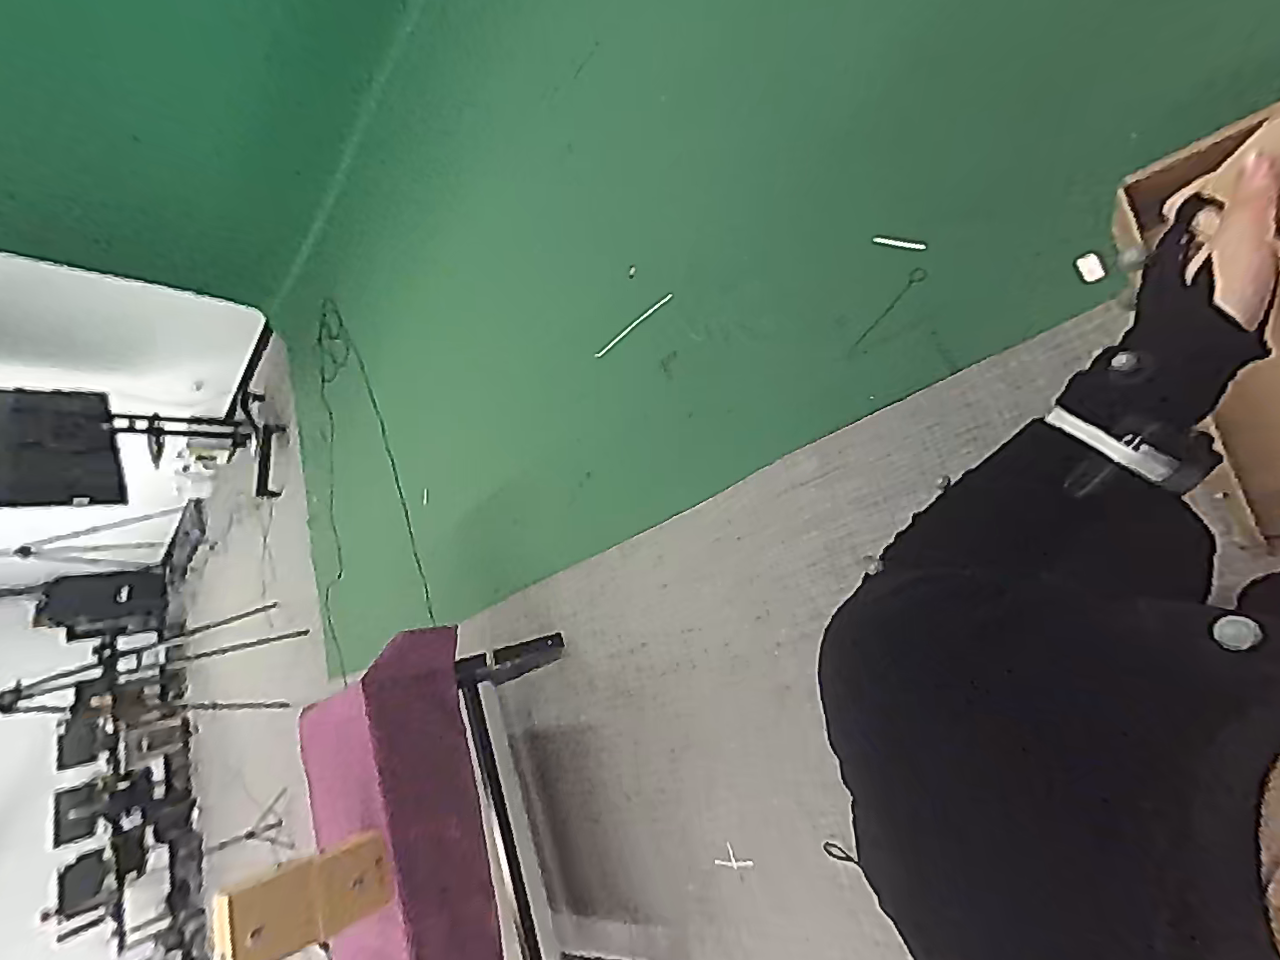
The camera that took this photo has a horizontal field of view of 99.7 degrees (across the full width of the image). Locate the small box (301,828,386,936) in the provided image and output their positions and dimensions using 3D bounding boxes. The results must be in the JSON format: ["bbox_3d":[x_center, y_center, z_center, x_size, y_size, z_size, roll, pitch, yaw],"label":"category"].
[{"bbox_3d":[-0.768,1.016,1.384,0.179,0.176,0.168,-30,70,37],"label":"small box"}]

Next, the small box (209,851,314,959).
[{"bbox_3d":[-0.882,1.010,1.265,0.168,0.176,0.179,-29,70,37],"label":"small box"}]
